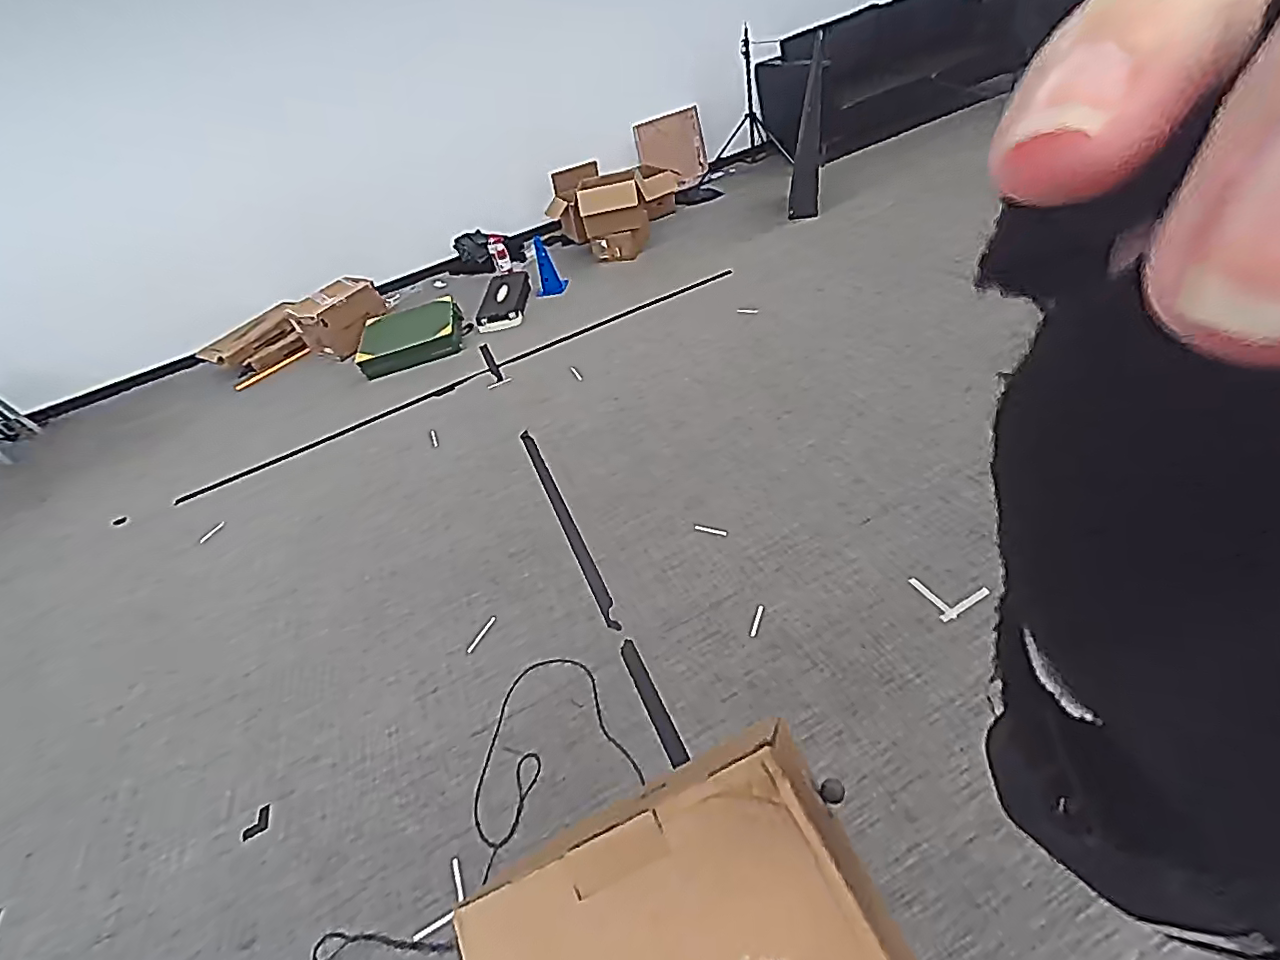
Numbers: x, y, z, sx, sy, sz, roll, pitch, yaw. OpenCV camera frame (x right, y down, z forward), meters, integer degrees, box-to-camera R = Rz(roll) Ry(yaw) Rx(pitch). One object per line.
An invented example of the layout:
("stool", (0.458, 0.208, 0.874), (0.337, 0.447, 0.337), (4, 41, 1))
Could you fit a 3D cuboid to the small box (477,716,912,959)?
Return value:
("small box", (0.048, 0.255, 0.294), (0.168, 0.179, 0.176), (-30, 65, 4))
